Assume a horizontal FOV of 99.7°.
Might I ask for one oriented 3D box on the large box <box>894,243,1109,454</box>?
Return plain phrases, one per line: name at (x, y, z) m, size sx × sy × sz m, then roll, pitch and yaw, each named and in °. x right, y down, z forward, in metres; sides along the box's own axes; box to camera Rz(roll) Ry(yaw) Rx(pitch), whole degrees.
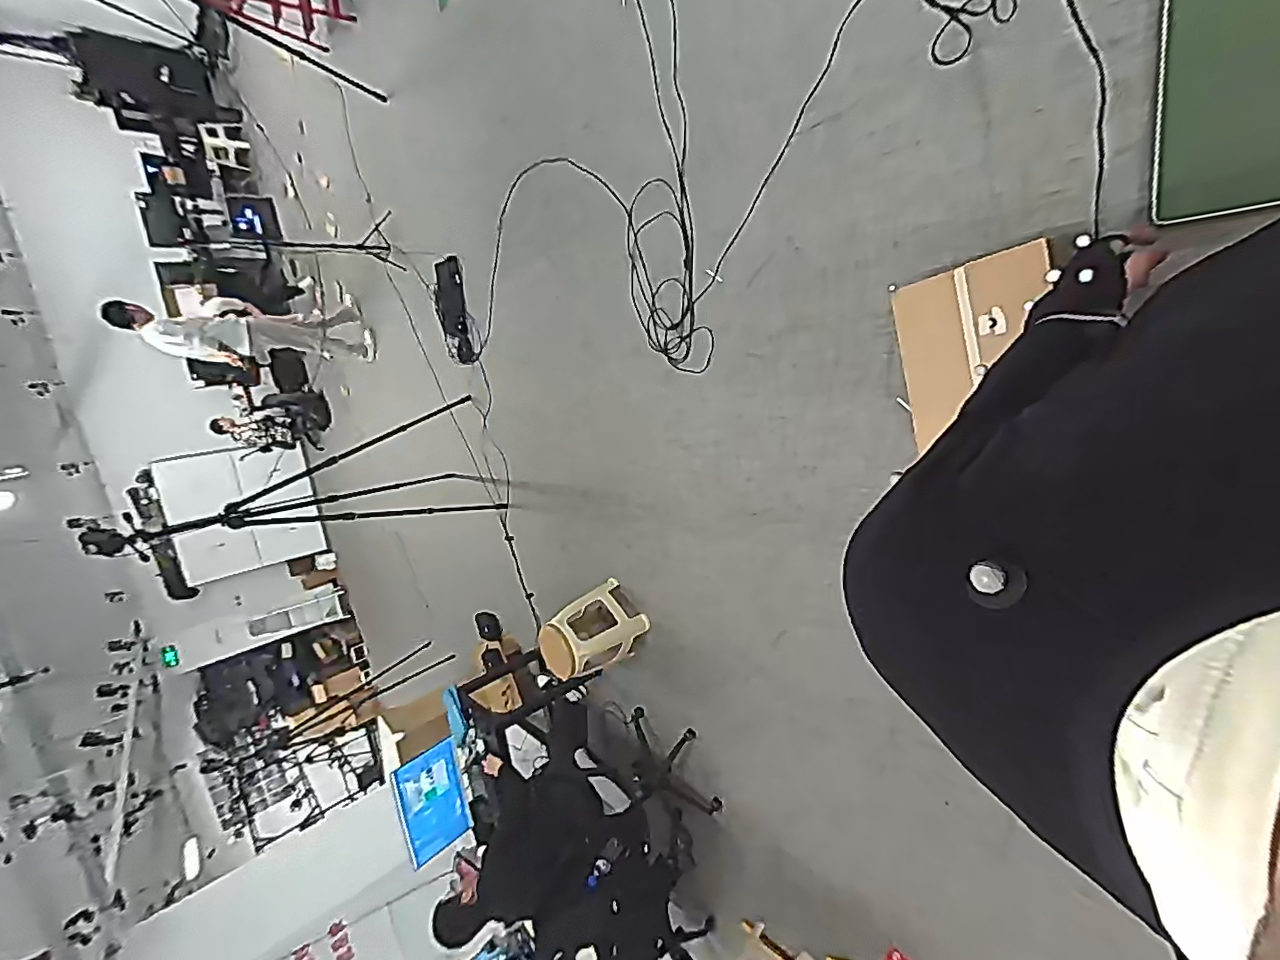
large box at (0.865, -0.298, 1.294) m, size 0.320 × 0.320 × 0.408 m, roll -7°, pitch 96°, yaw 51°
